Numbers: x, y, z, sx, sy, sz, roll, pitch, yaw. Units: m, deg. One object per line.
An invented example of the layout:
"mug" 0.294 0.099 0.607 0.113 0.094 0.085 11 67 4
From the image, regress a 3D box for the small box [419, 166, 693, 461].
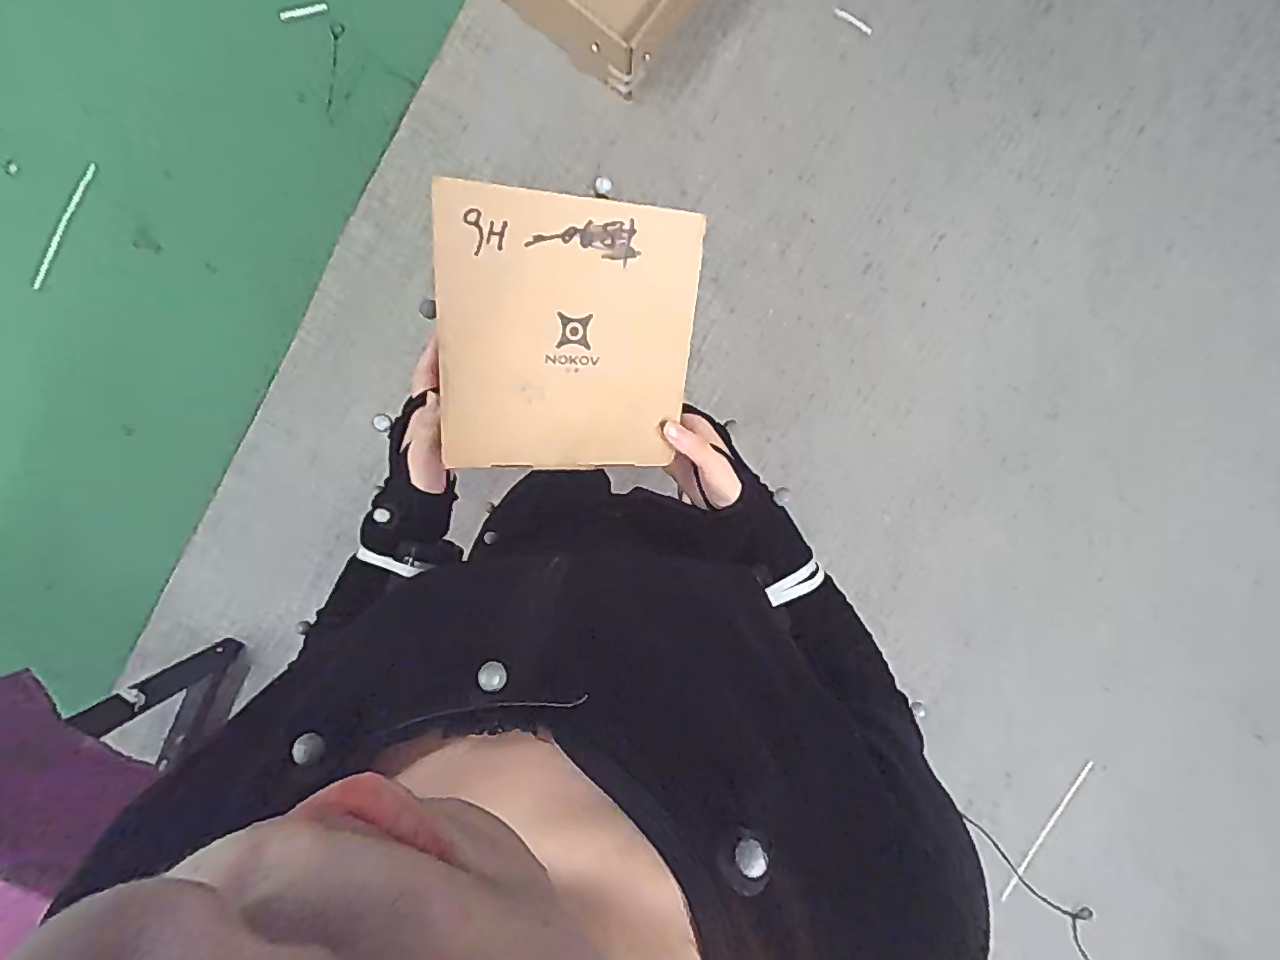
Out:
"small box" -0.076 -0.127 0.422 0.168 0.176 0.179 -1 115 -18
